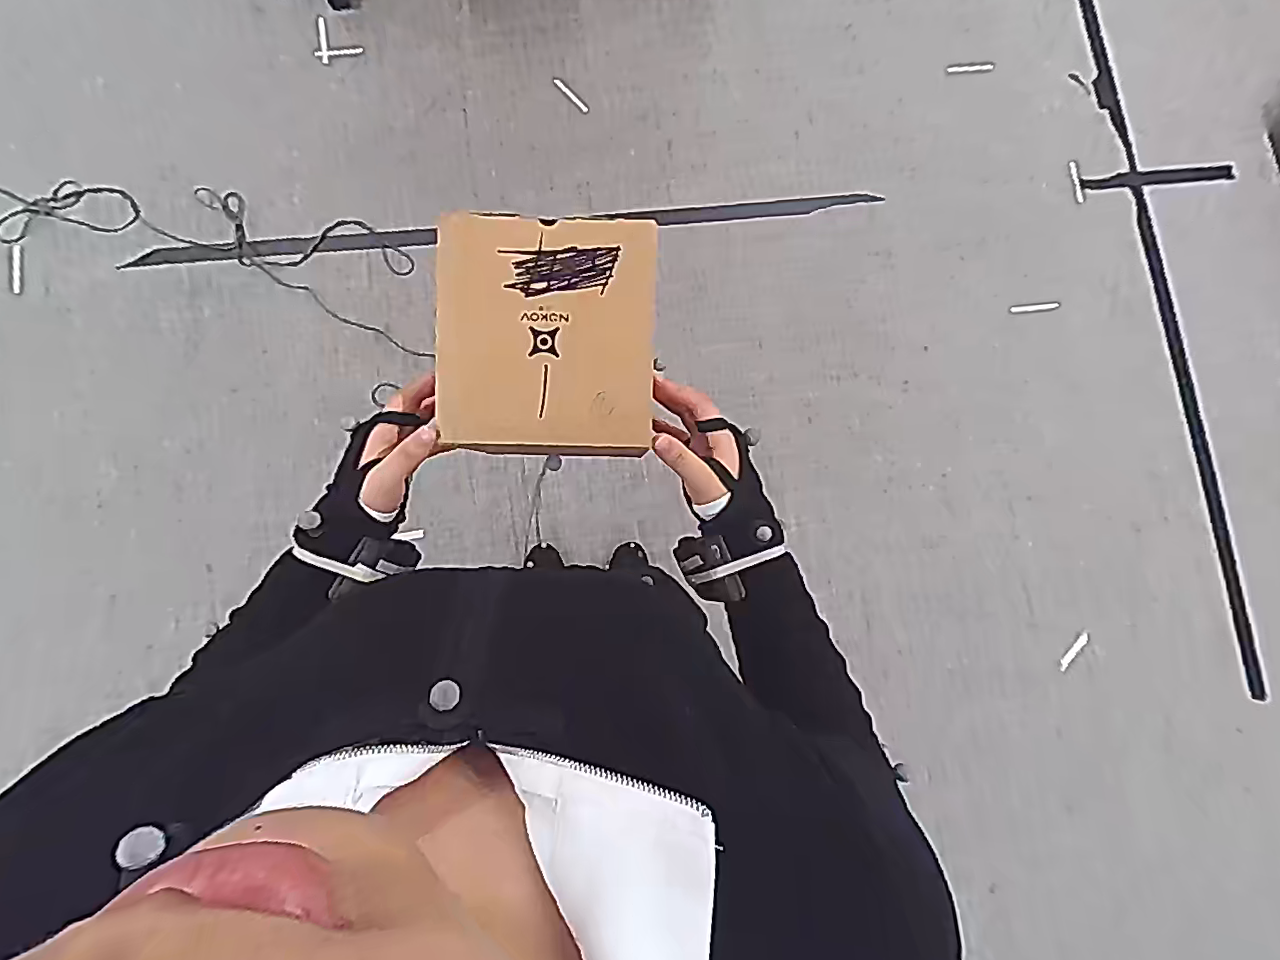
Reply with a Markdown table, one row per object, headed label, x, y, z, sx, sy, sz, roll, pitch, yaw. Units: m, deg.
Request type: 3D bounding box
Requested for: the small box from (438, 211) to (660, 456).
| label | x | y | z | sx | sy | sz | roll | pitch | yaw |
| --- | --- | --- | --- | --- | --- | --- | --- | --- | --- |
| small box | -0.072 | -0.115 | 0.491 | 0.168 | 0.176 | 0.179 | 1 | 90 | -2 |
